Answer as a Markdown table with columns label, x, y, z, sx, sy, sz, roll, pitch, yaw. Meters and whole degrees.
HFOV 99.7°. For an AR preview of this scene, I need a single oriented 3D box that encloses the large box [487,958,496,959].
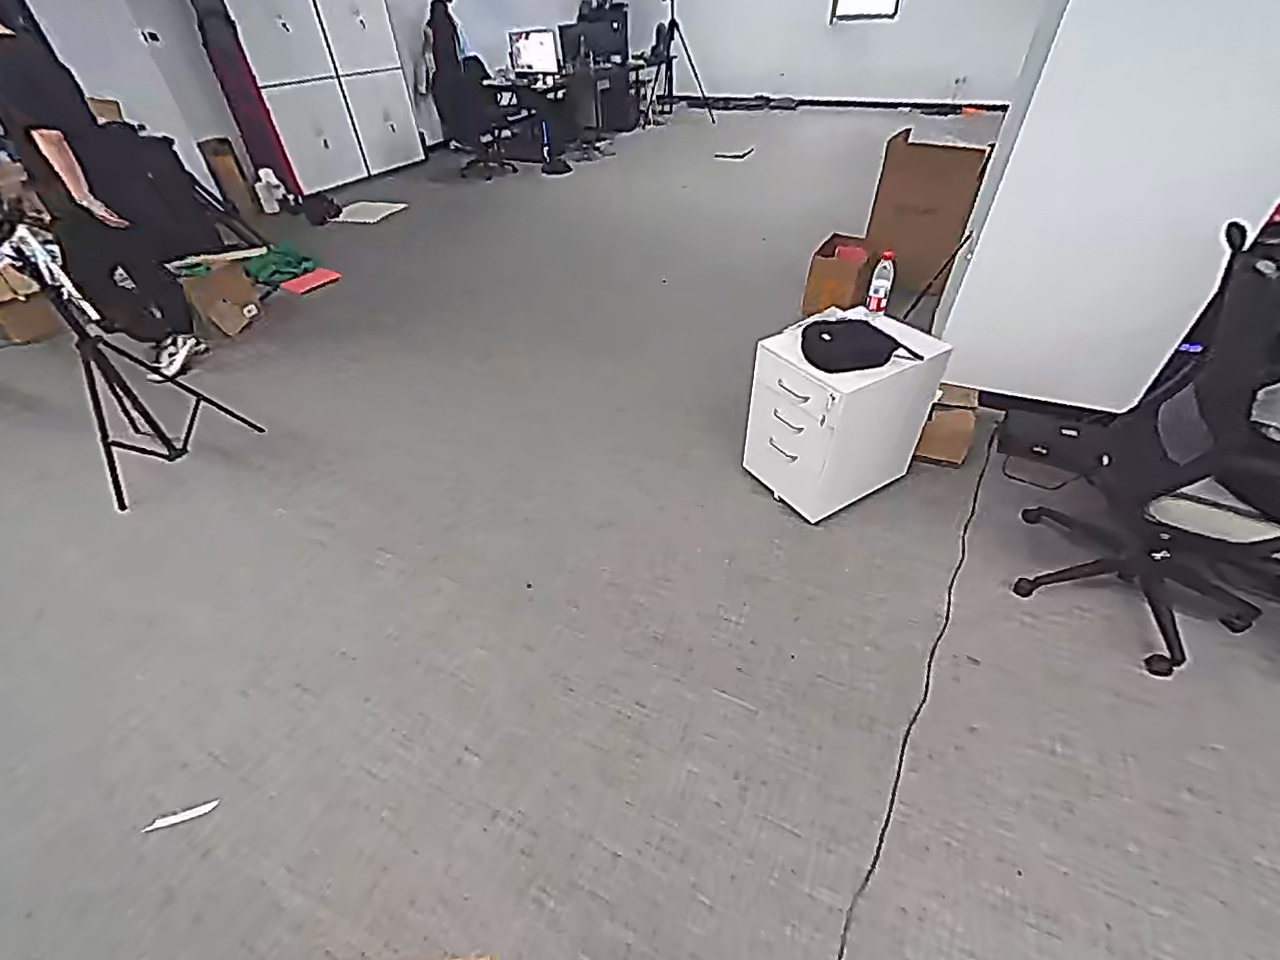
| label | x | y | z | sx | sy | sz | roll | pitch | yaw |
| --- | --- | --- | --- | --- | --- | --- | --- | --- | --- |
| large box | -0.283 | 0.813 | 0.604 | 0.320 | 0.408 | 0.320 | -8 | 29 | 7 |
